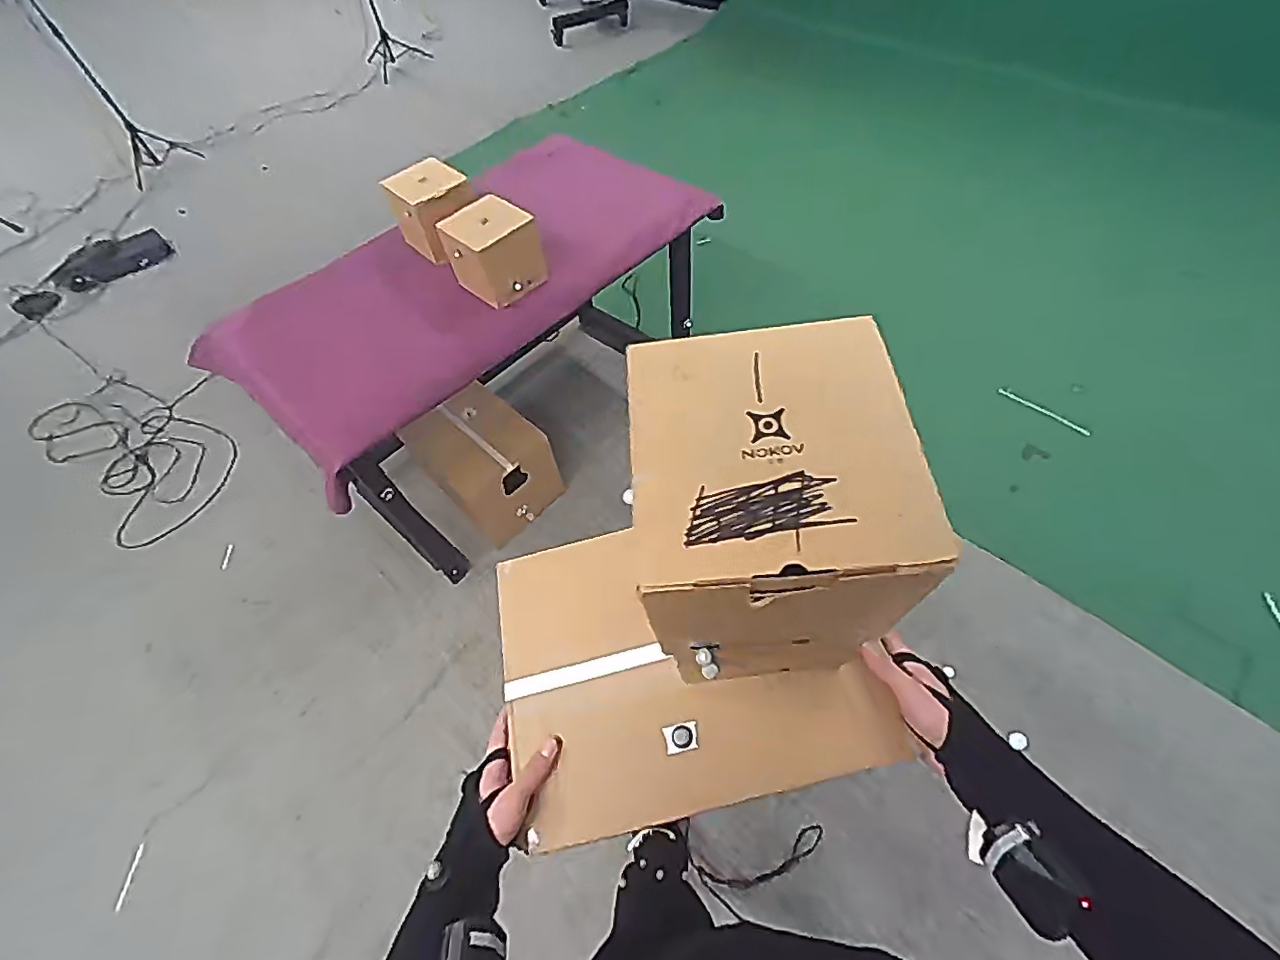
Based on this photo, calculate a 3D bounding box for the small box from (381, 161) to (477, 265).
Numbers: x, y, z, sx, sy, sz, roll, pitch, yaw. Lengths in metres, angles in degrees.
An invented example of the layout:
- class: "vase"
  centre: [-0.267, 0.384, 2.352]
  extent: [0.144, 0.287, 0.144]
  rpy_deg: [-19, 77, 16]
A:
- class: "small box"
  centre: [-0.539, -0.702, 1.427]
  extent: [0.168, 0.176, 0.179]
  rpy_deg: [-41, 63, -20]

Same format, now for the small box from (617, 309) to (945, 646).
- class: "small box"
  centre: [0.079, 0.013, 0.380]
  extent: [0.168, 0.176, 0.179]
  rpy_deg: [-5, 59, 6]

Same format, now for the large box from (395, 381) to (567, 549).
- class: "large box"
  centre: [-0.509, -0.047, 1.786]
  extent: [0.408, 0.320, 0.320]
  rpy_deg: [36, 66, 26]

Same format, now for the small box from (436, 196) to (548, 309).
- class: "small box"
  centre: [-0.350, -0.544, 1.304]
  extent: [0.168, 0.176, 0.179]
  rpy_deg: [-42, 62, -19]
